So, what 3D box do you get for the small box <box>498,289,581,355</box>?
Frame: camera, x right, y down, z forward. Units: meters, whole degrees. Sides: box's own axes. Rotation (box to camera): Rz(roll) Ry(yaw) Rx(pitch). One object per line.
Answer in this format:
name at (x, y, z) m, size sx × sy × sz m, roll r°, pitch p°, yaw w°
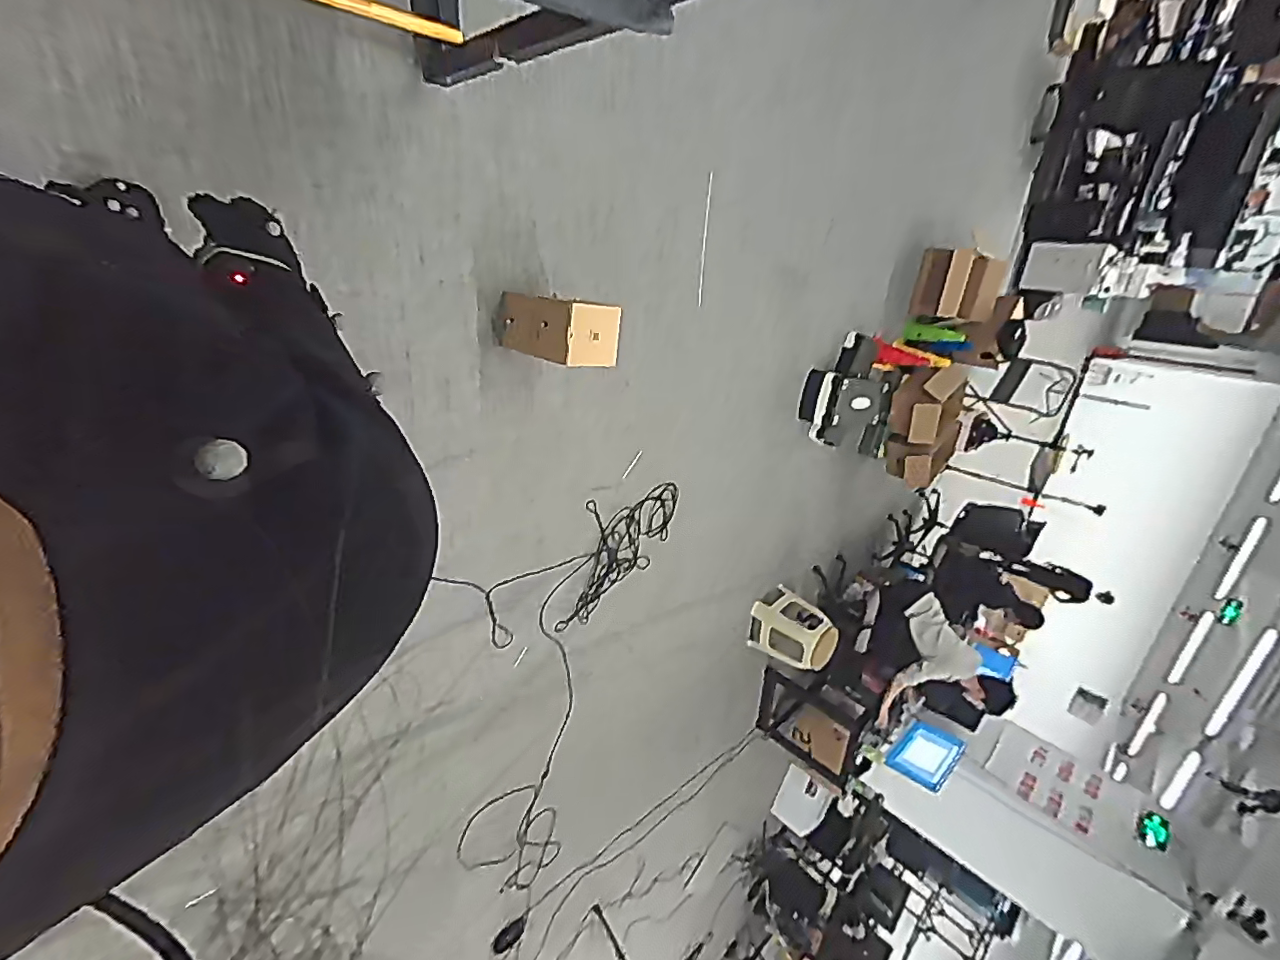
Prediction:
small box at (-0.303, -0.476, 1.624) m, size 0.179 × 0.176 × 0.168 m, roll -10°, pitch 116°, yaw -43°
